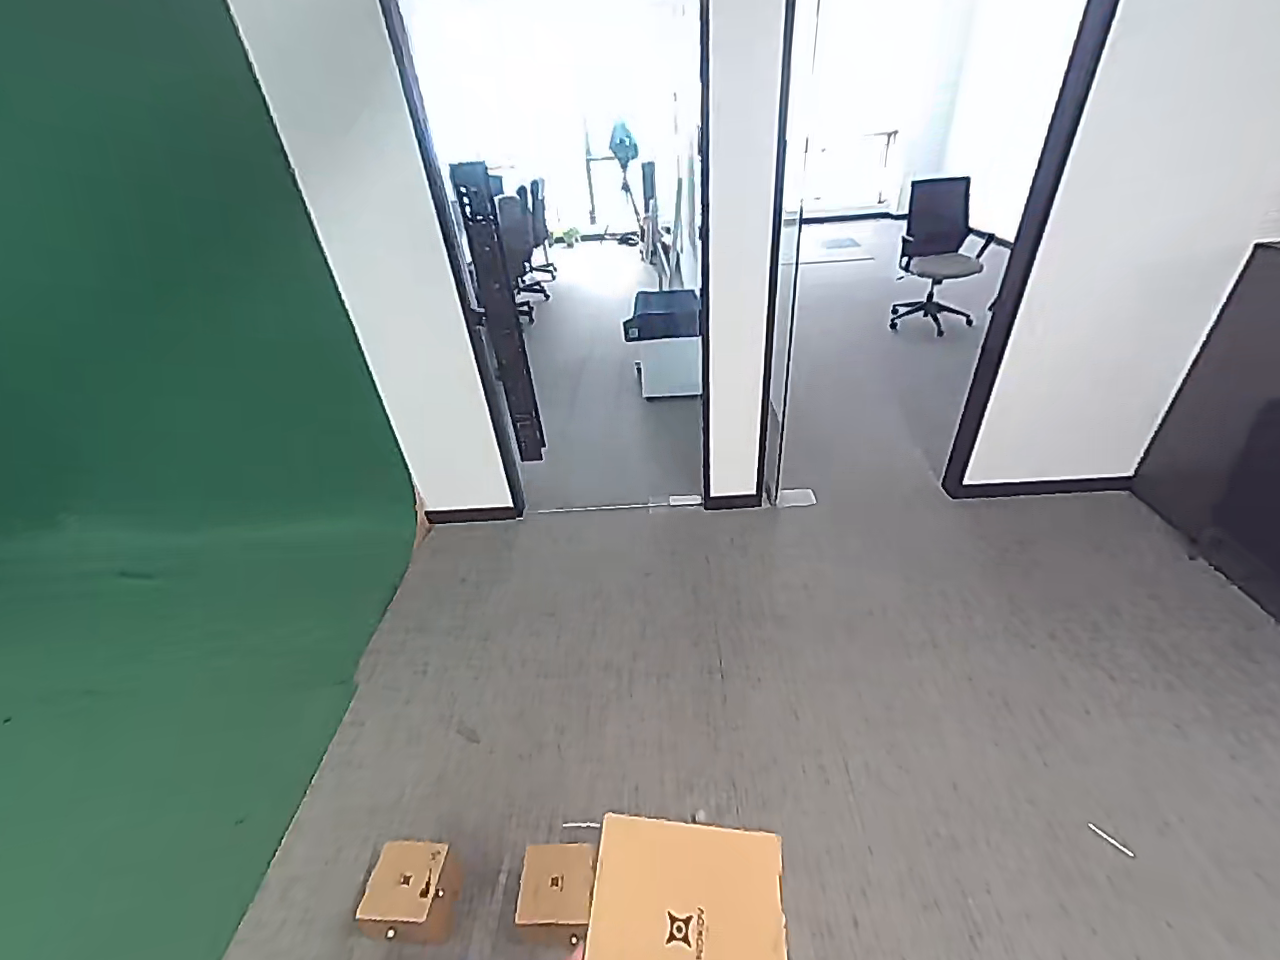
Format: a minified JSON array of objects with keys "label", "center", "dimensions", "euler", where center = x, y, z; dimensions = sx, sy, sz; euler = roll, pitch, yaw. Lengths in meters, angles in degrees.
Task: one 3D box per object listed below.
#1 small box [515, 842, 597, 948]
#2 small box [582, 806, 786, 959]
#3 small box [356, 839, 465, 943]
[{"label":"small box","center":[-0.192,1.025,1.336],"dimensions":[0.179,0.176,0.168],"euler":[-3,34,4]},{"label":"small box","center":[0.047,0.444,0.536],"dimensions":[0.179,0.176,0.168],"euler":[3,50,8]},{"label":"small box","center":[-0.568,1.037,1.364],"dimensions":[0.179,0.176,0.168],"euler":[-1,35,6]}]
